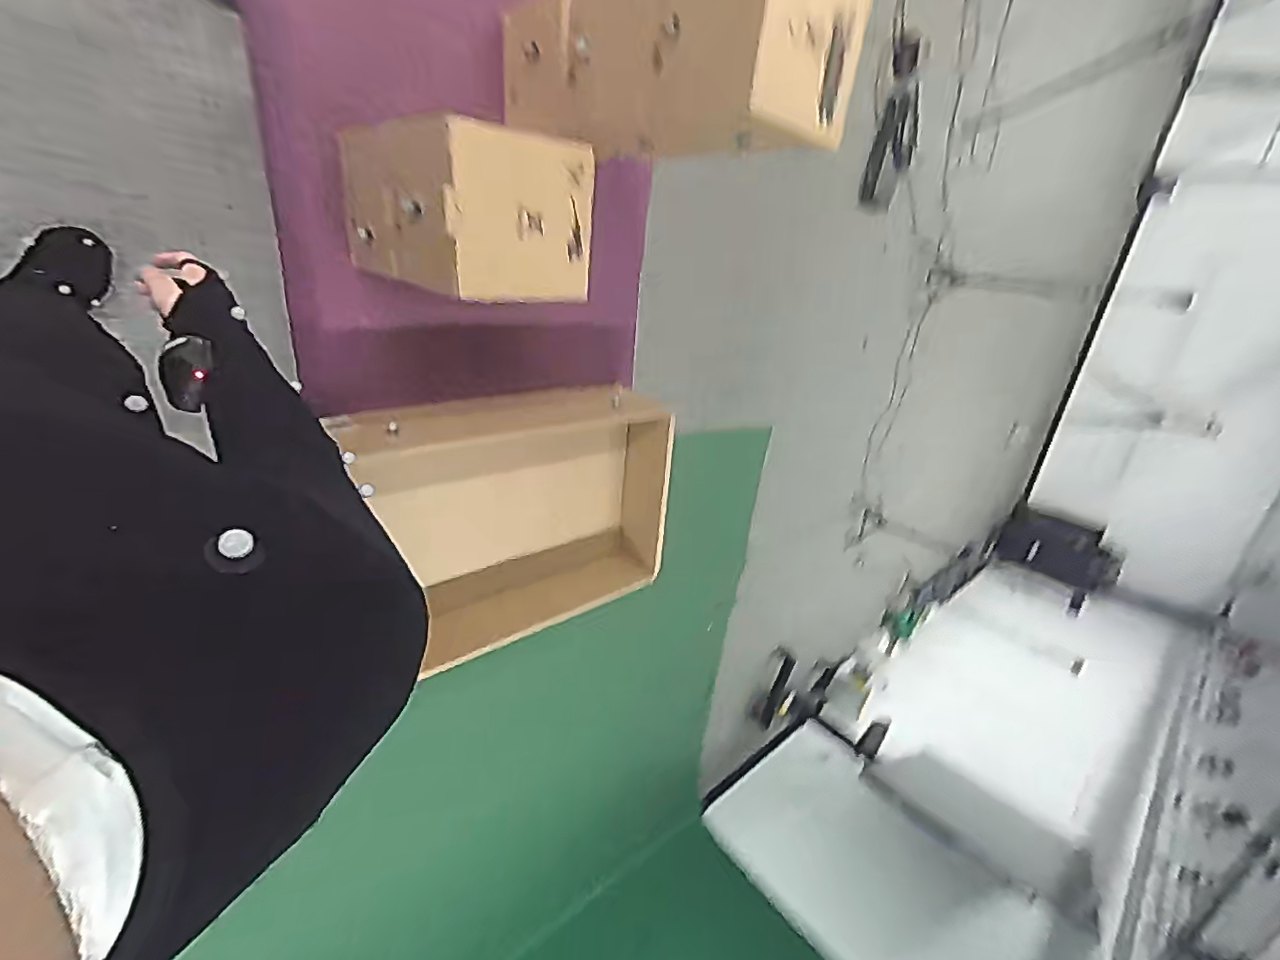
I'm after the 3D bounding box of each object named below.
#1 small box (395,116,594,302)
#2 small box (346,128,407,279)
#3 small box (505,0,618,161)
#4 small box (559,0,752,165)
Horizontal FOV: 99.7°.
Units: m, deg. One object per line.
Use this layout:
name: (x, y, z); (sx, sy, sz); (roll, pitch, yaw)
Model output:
small box: (-0.178, -0.311, 0.644); (0.179, 0.176, 0.168); (-14, 121, -40)
small box: (-0.289, -0.367, 0.749); (0.179, 0.176, 0.168); (-15, 121, -42)
small box: (-0.094, -0.596, 0.827); (0.179, 0.176, 0.168); (-16, 121, -40)
small box: (0.016, -0.534, 0.722); (0.179, 0.176, 0.168); (-10, 117, -41)
